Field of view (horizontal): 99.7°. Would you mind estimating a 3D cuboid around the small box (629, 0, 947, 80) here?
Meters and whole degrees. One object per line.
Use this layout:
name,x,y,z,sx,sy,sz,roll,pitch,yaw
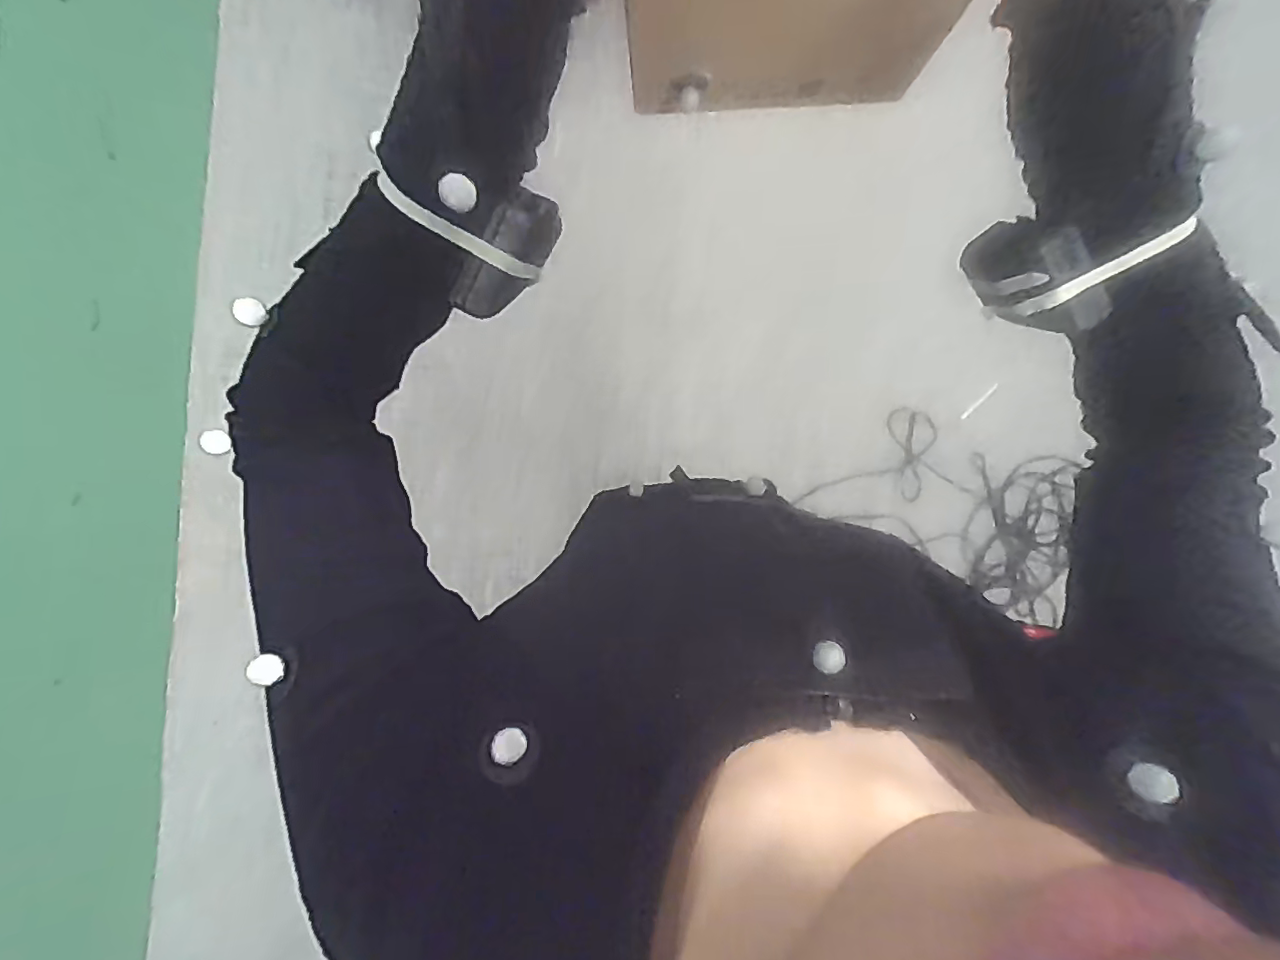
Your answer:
small box,0.073,-0.315,0.242,0.168,0.176,0.179,-1,94,3
